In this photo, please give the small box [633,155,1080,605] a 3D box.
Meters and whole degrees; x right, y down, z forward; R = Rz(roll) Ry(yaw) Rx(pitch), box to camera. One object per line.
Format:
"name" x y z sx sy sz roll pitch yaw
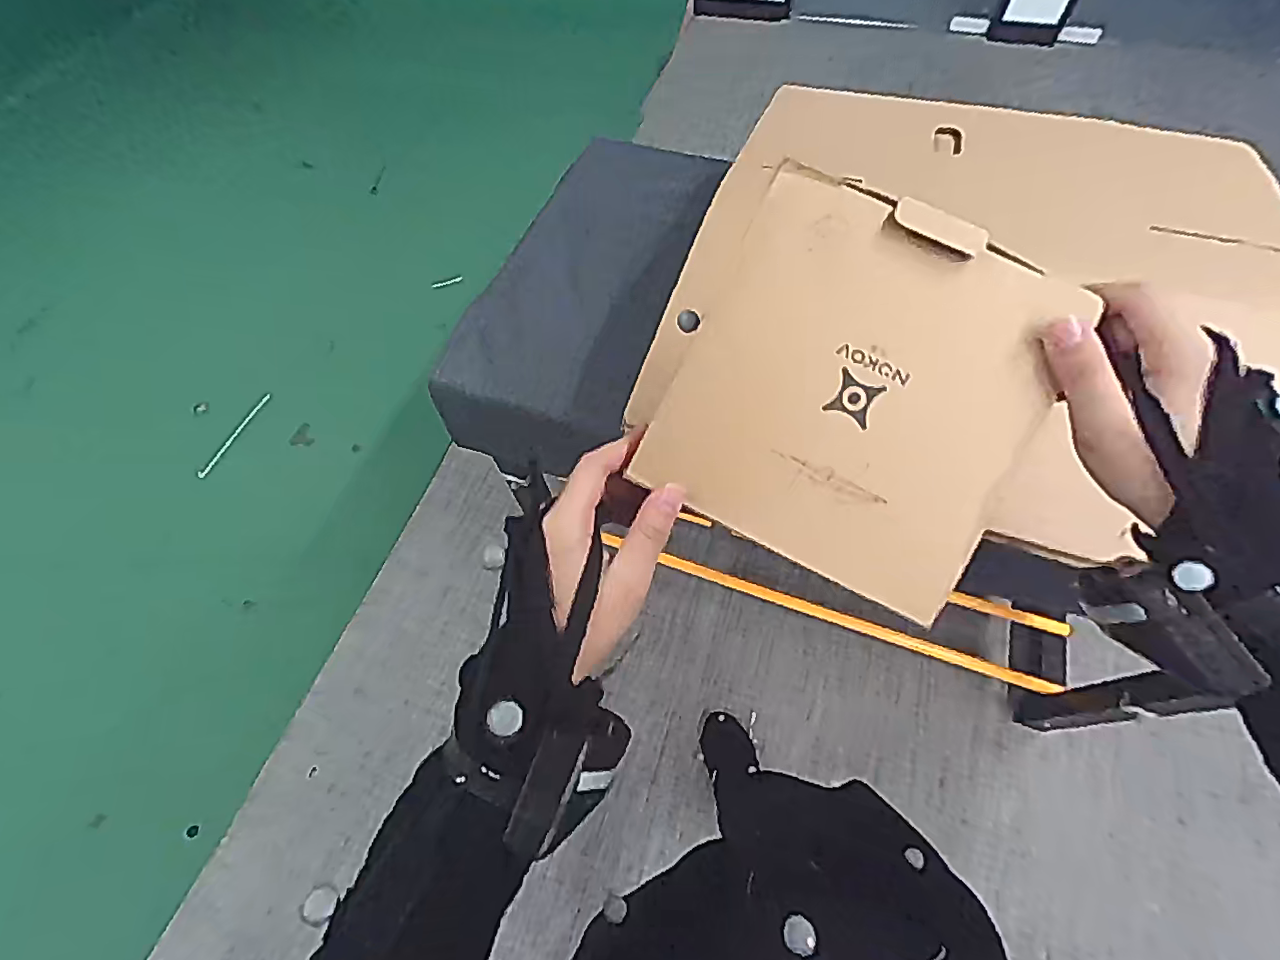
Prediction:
"small box" 0.109 -0.052 0.347 0.168 0.176 0.179 26 93 4
